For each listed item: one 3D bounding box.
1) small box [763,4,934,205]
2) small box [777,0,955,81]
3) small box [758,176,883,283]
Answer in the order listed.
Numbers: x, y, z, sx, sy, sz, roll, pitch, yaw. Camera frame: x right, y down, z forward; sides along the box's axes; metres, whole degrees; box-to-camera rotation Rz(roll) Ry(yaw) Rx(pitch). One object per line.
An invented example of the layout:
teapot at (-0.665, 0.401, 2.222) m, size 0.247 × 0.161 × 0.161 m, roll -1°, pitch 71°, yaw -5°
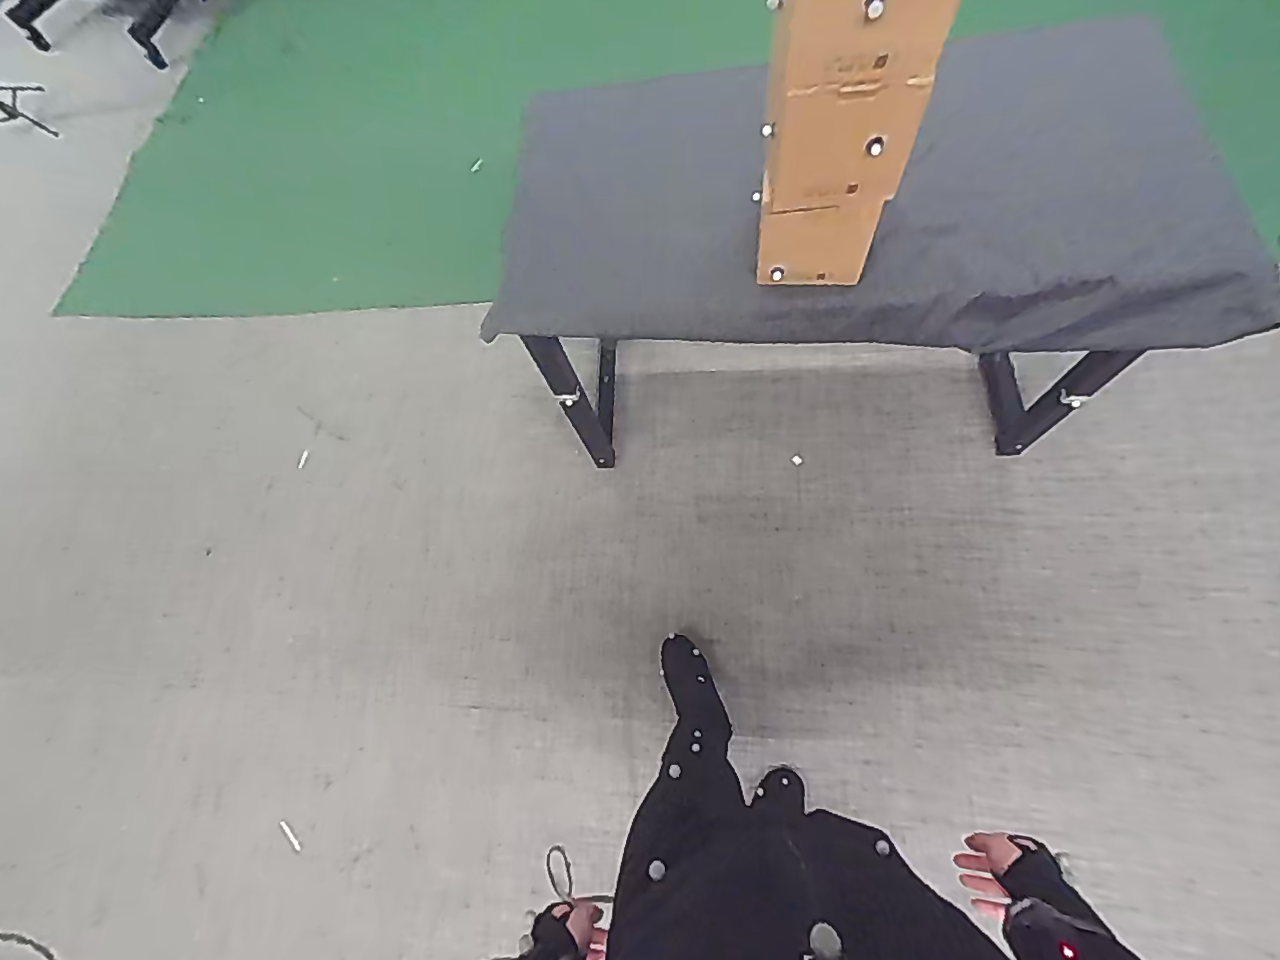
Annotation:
small box at (0.254, -0.484, 0.704) m, size 0.168 × 0.176 × 0.179 m, roll -2°, pitch 67°, yaw 7°
small box at (0.234, -0.547, 0.555) m, size 0.168 × 0.176 × 0.179 m, roll 0°, pitch 70°, yaw 8°
small box at (0.278, -0.432, 0.856) m, size 0.168 × 0.176 × 0.179 m, roll 4°, pitch 68°, yaw 10°
